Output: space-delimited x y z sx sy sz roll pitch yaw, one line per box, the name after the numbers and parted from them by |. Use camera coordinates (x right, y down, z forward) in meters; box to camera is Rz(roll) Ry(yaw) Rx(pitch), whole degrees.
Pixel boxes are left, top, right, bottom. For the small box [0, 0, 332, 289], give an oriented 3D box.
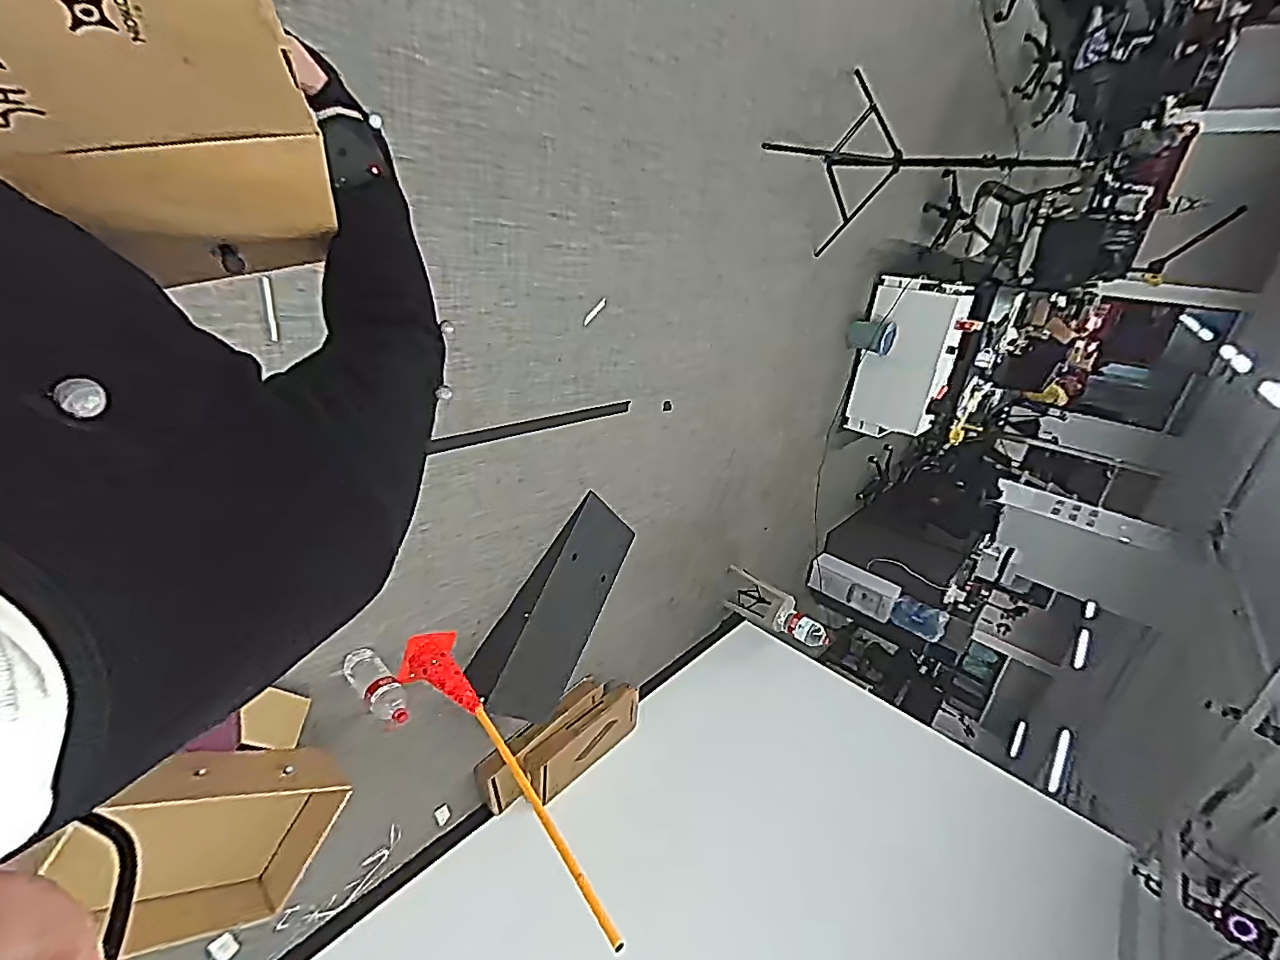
-0.355 -0.271 0.412 0.179 0.176 0.168 -23 91 -26 | small box
